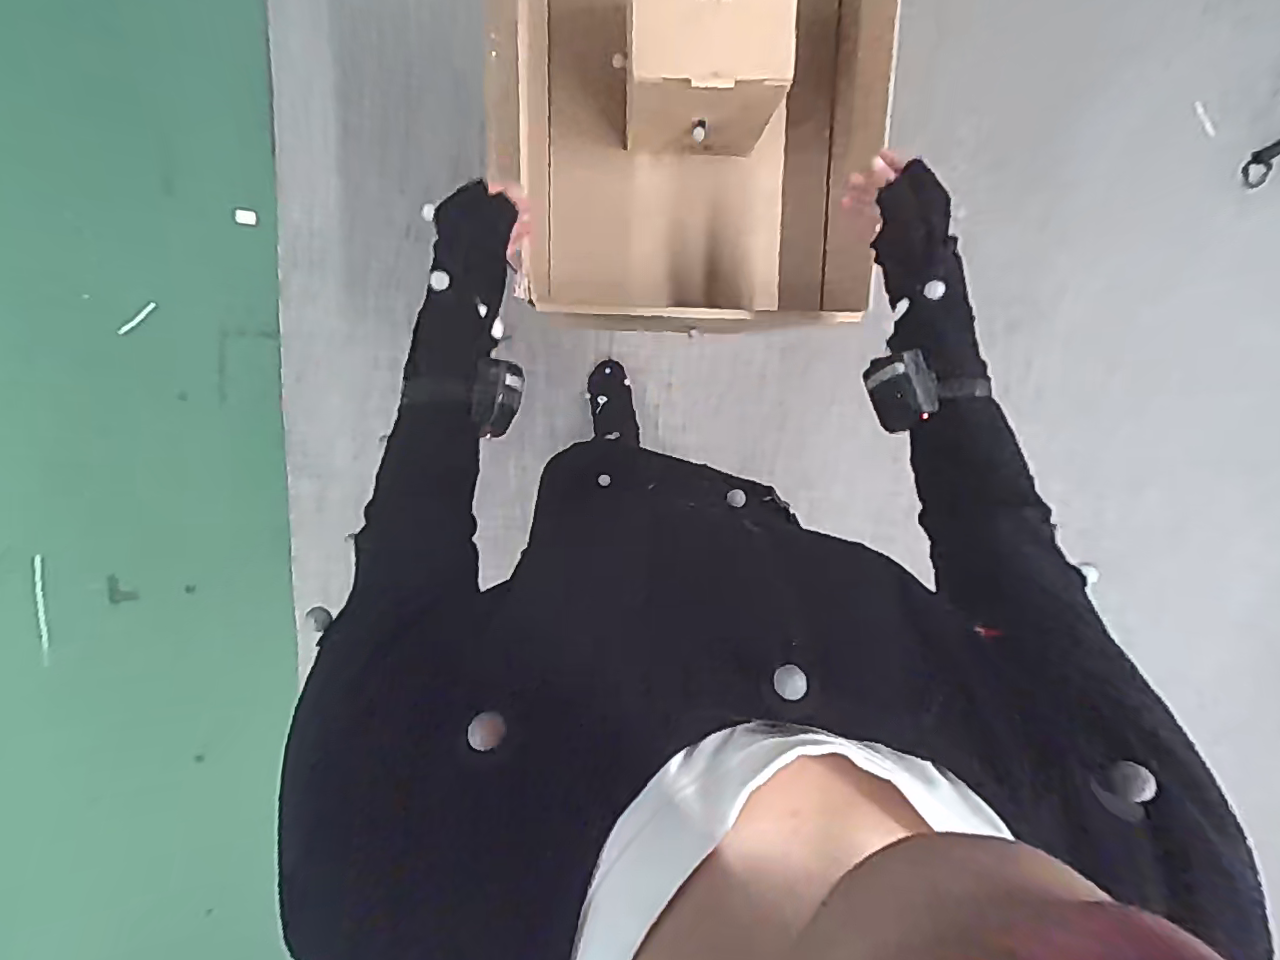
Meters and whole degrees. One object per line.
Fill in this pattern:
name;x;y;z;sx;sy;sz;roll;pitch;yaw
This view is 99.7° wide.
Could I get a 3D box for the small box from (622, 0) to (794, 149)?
small box;0.067;-0.499;0.608;0.168;0.176;0.179;0;99;-4
